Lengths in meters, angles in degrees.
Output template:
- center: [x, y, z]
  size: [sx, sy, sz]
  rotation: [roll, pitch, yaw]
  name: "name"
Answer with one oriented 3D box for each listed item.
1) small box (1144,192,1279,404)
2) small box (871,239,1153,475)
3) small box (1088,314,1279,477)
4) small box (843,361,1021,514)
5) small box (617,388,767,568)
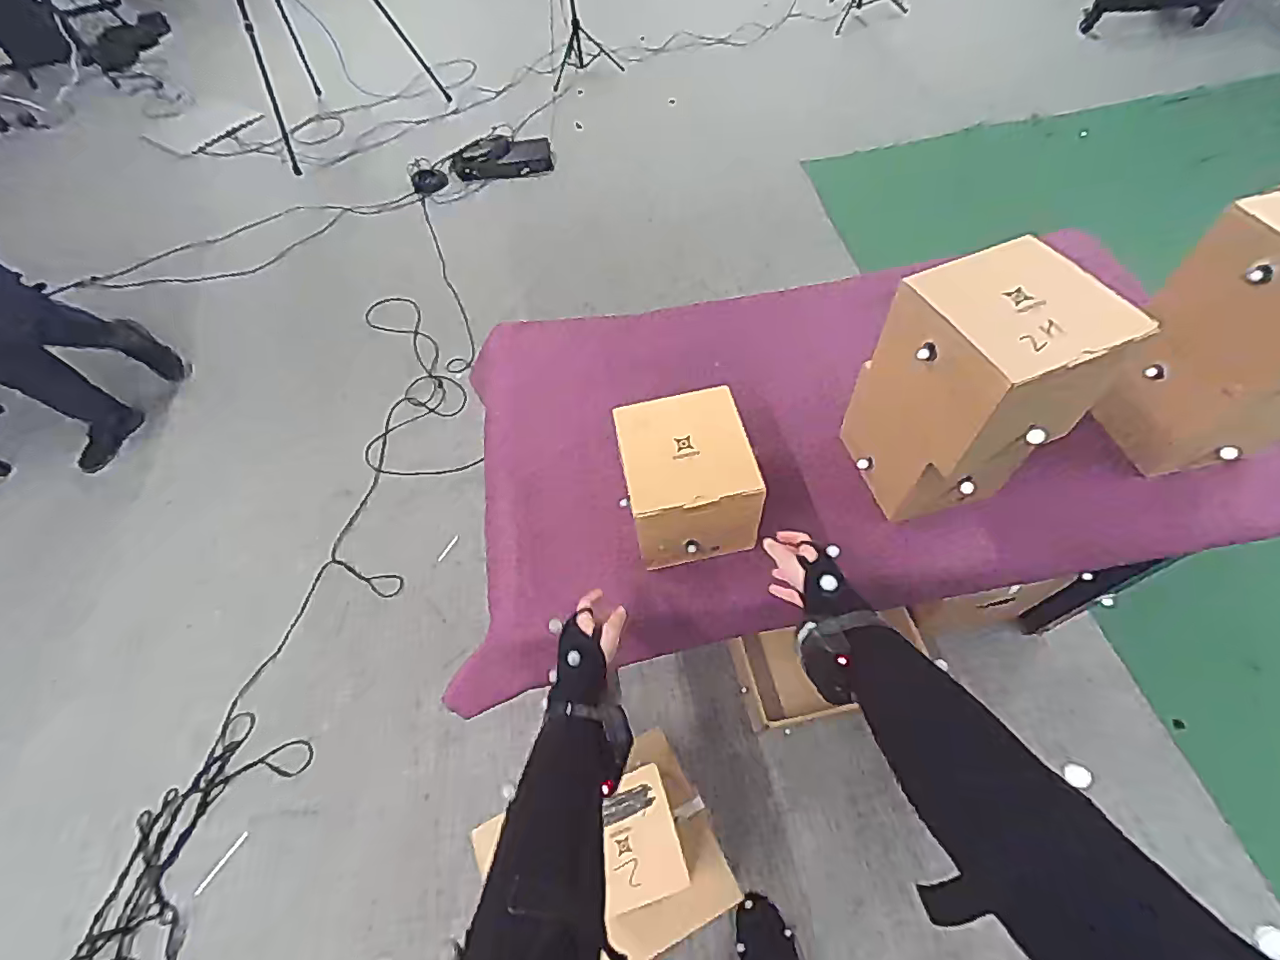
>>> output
- center: [0.770, -0.219, 0.634]
  size: [0.168, 0.176, 0.179]
  rotation: [-14, 56, -1]
  name: "small box"
- center: [0.397, -0.137, 0.622]
  size: [0.168, 0.176, 0.179]
  rotation: [-20, 57, -6]
  name: "small box"
- center: [0.792, -0.130, 0.768]
  size: [0.168, 0.176, 0.179]
  rotation: [-12, 56, 0]
  name: "small box"
- center: [0.415, -0.068, 0.773]
  size: [0.168, 0.176, 0.179]
  rotation: [-14, 57, -3]
  name: "small box"
- center: [0.068, 0.001, 0.770]
  size: [0.168, 0.176, 0.179]
  rotation: [-12, 57, -2]
  name: "small box"
